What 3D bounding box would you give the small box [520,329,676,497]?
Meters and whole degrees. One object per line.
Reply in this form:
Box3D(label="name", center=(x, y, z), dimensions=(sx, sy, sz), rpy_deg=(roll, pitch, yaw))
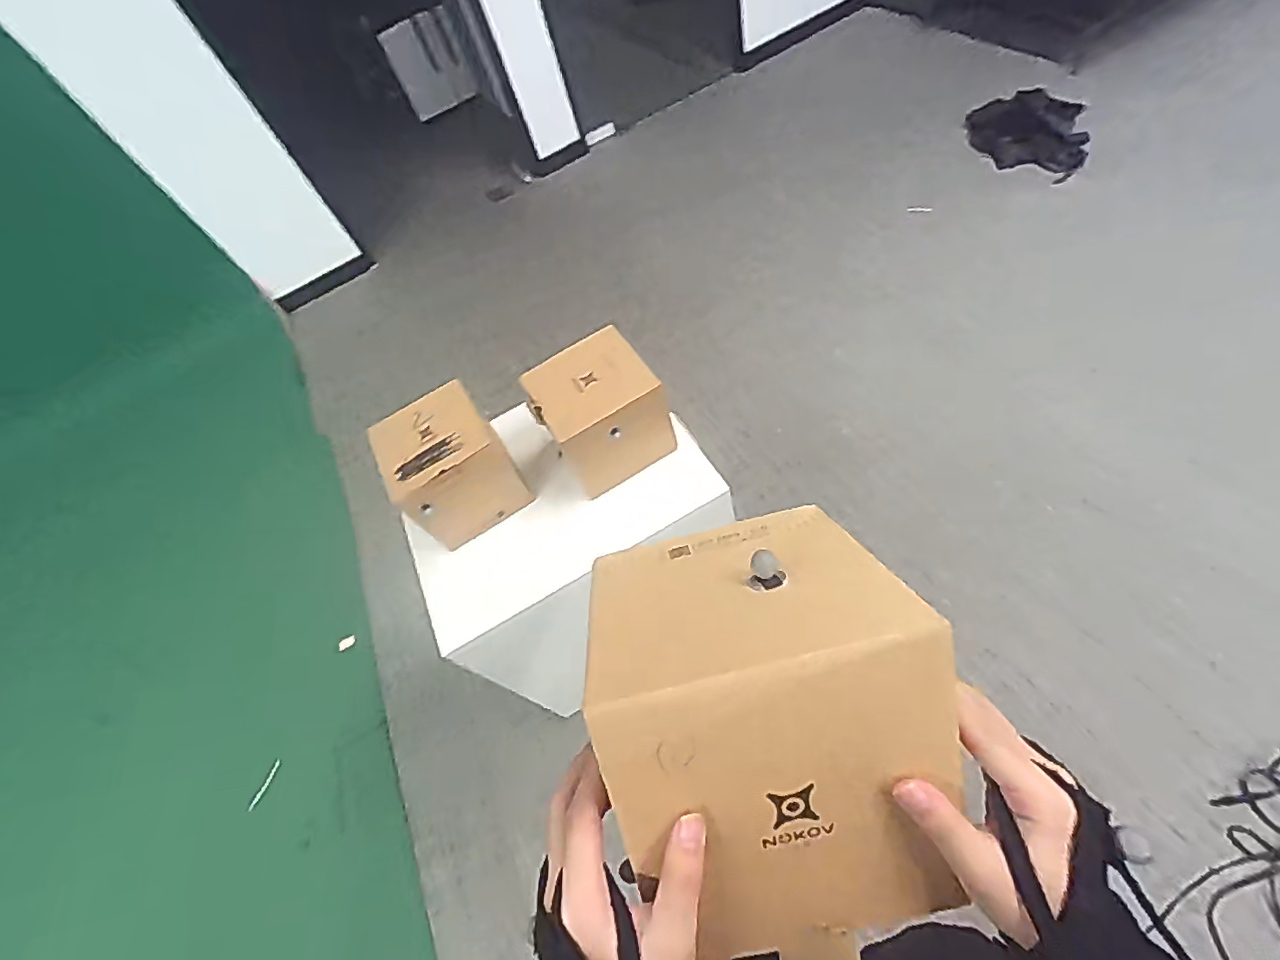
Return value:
Box3D(label="small box", center=(-0.061, -0.102, 0.879), dimensions=(0.179, 0.176, 0.168), rpy_deg=(-31, 57, -6))
